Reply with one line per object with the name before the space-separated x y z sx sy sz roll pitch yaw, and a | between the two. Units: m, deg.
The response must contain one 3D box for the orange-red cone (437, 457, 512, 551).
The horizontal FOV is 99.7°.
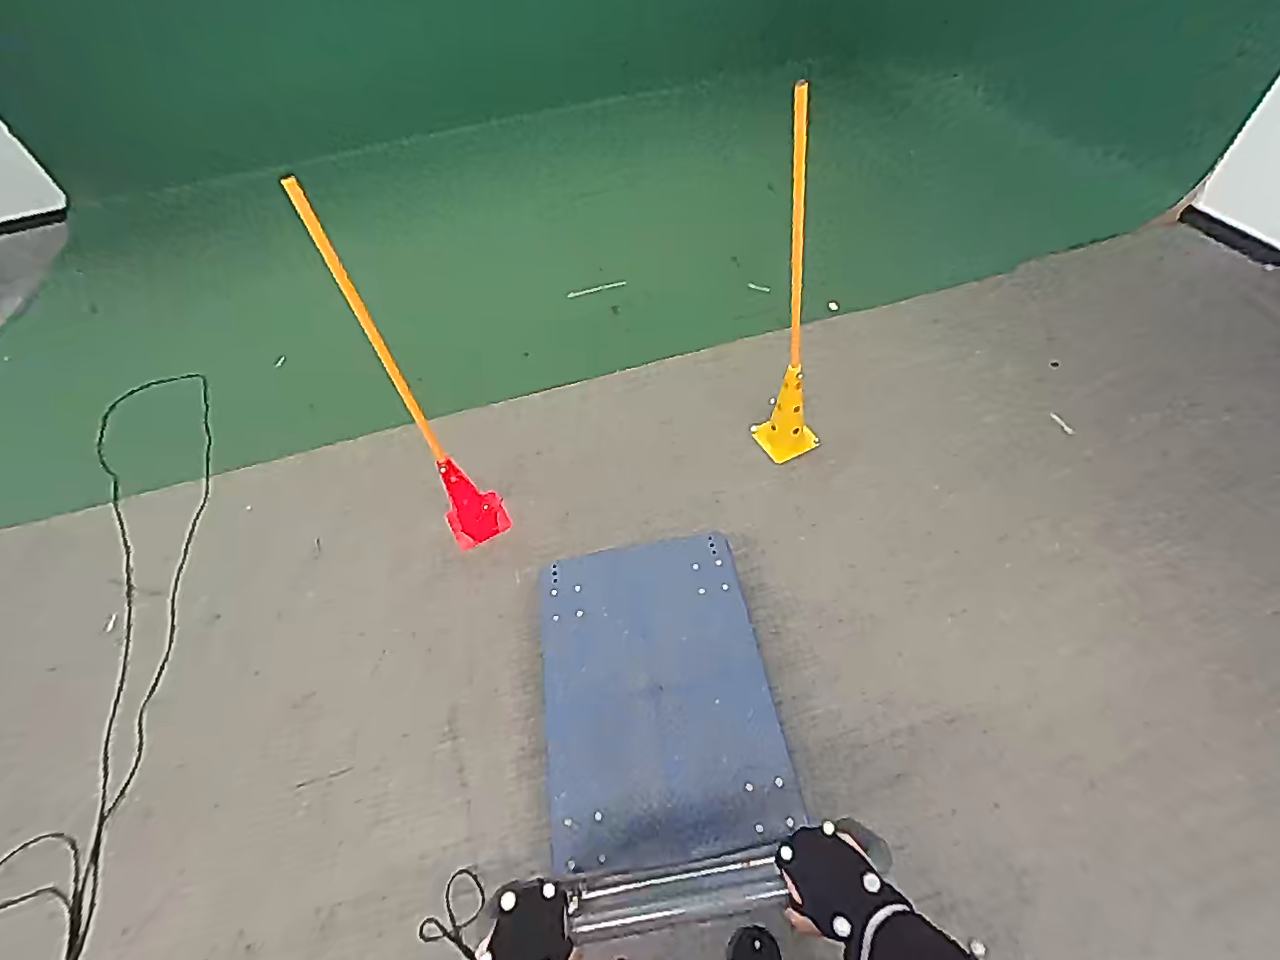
orange-red cone | -0.602 0.049 1.836 0.199 0.360 0.198 -28 54 -12
